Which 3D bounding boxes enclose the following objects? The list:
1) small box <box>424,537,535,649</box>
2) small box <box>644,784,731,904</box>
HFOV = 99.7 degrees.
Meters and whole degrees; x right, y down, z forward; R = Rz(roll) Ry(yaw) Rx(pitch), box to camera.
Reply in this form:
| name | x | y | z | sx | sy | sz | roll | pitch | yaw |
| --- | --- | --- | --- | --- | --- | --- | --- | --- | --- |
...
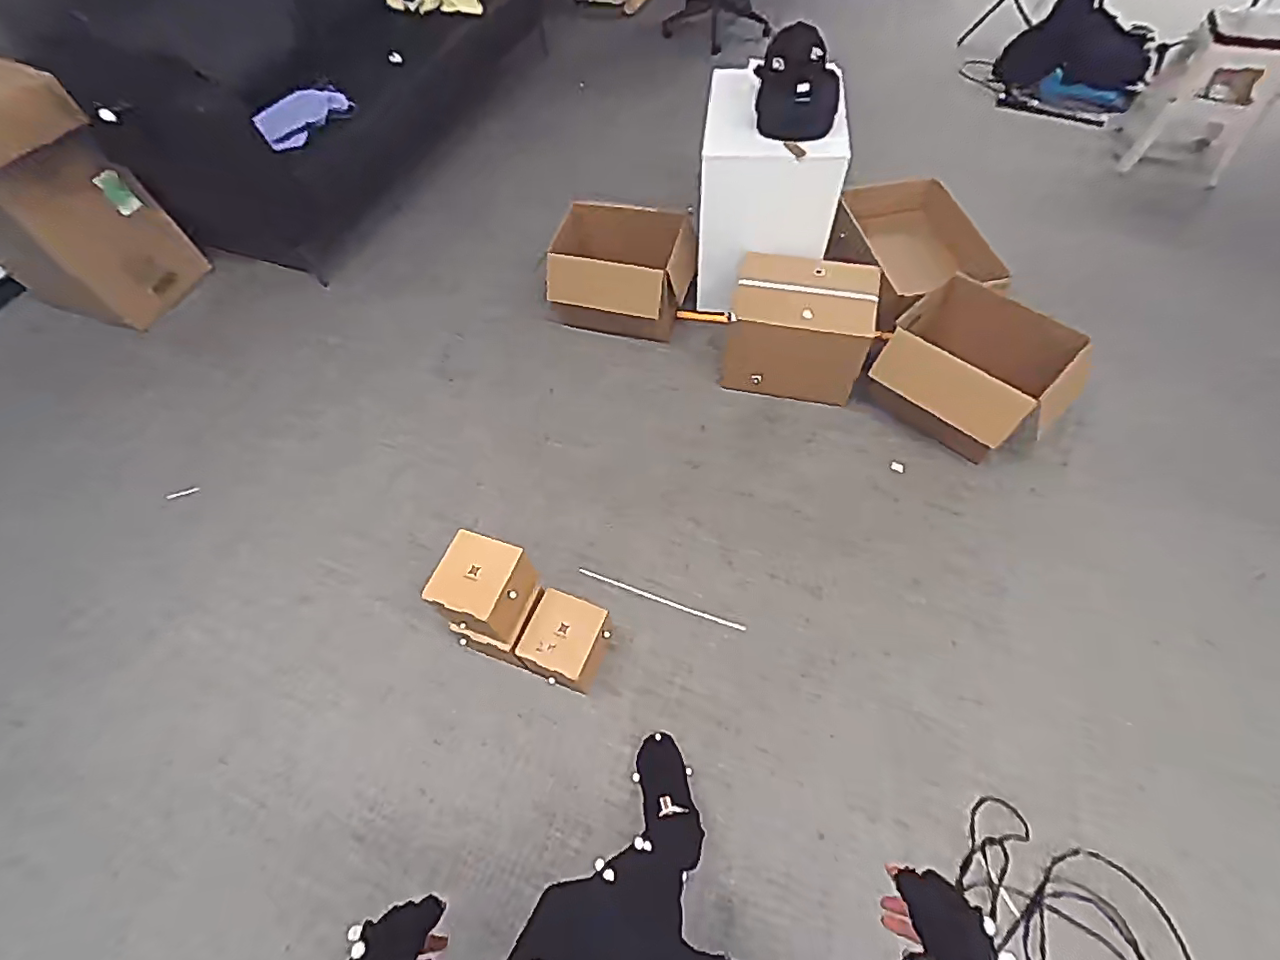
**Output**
| name | x | y | z | sx | sy | sz | roll | pitch | yaw |
| --- | --- | --- | --- | --- | --- | --- | --- | --- | --- |
| small box | -0.356 | 0.263 | 1.244 | 0.168 | 0.176 | 0.179 | 16 | 59 | 13 |
| small box | 0.097 | 0.748 | 1.129 | 0.168 | 0.176 | 0.179 | 3 | 65 | 2 |
